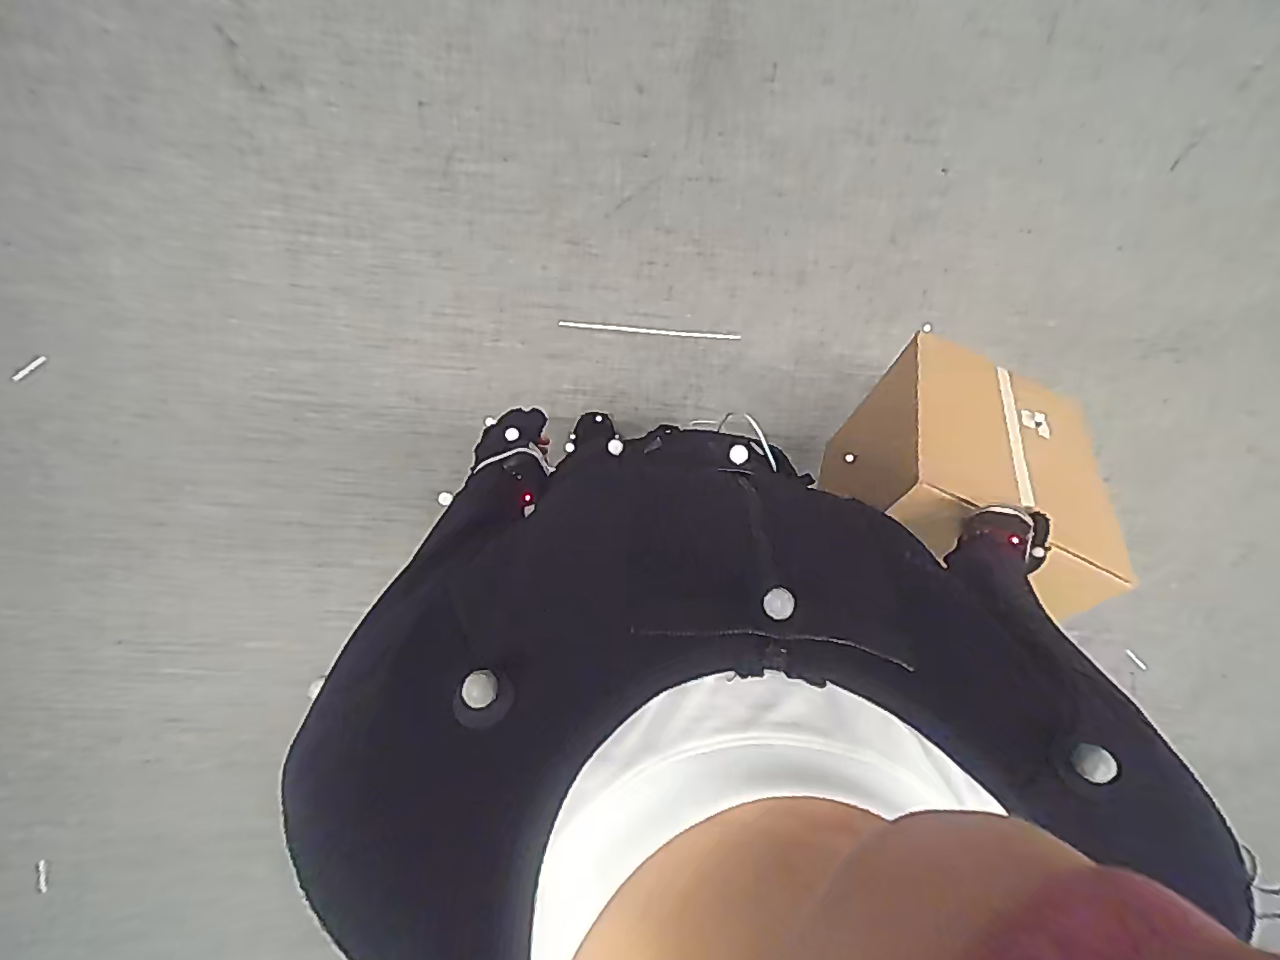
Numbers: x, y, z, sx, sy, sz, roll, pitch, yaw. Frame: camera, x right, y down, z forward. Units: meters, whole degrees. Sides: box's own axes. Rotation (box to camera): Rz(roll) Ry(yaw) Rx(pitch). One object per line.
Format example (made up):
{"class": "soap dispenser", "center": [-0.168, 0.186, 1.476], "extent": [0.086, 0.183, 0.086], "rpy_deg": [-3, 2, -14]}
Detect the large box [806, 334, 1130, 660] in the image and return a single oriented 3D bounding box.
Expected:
{"class": "large box", "center": [0.518, 0.027, 0.940], "extent": [0.320, 0.408, 0.320], "rpy_deg": [27, 138, 0]}
